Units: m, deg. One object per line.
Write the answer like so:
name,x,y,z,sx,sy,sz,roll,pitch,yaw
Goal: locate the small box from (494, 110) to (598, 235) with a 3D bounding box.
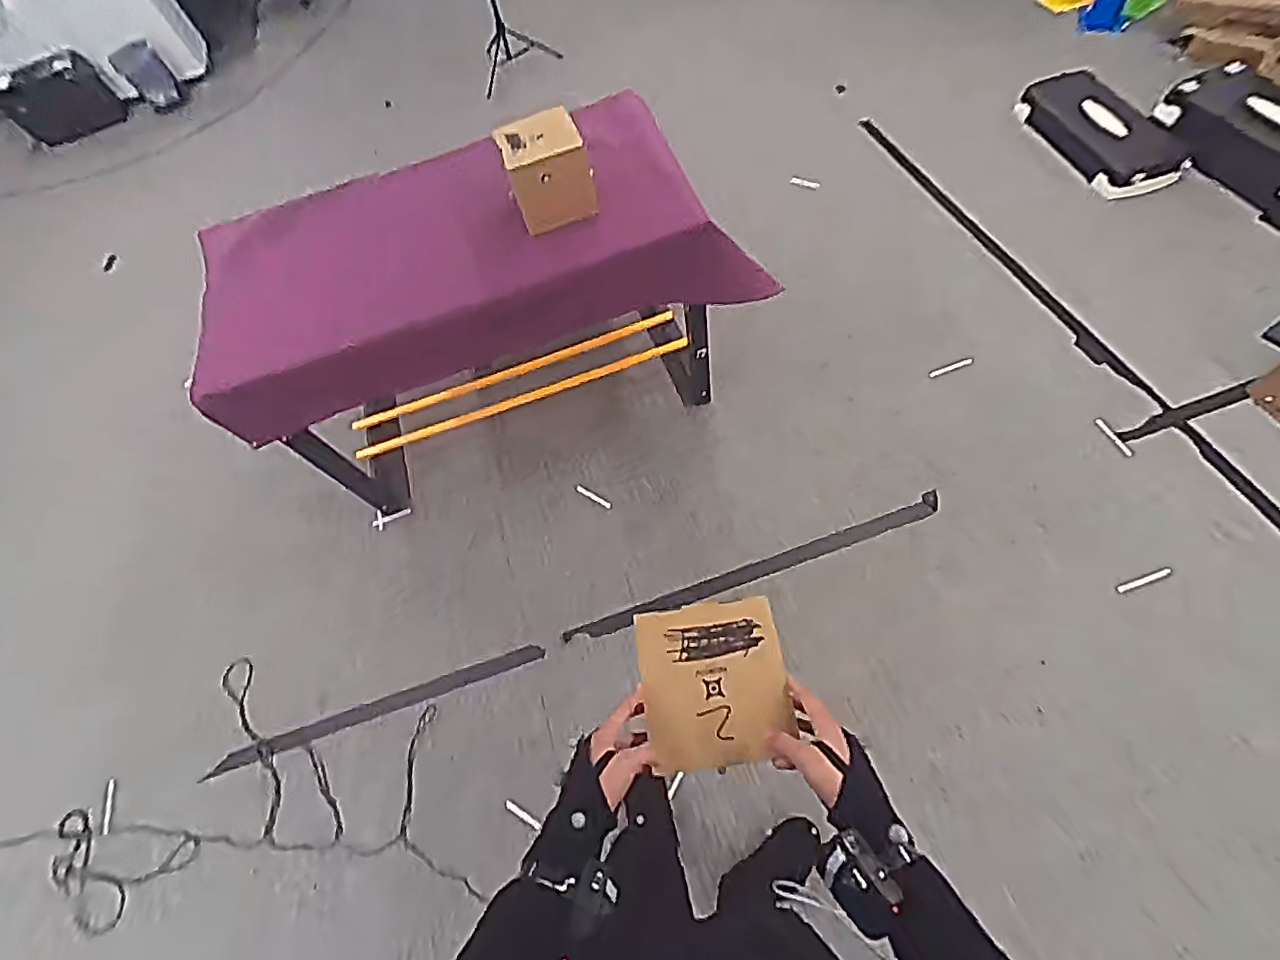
small box,-0.213,-0.704,1.251,0.179,0.176,0.168,-21,62,-2
